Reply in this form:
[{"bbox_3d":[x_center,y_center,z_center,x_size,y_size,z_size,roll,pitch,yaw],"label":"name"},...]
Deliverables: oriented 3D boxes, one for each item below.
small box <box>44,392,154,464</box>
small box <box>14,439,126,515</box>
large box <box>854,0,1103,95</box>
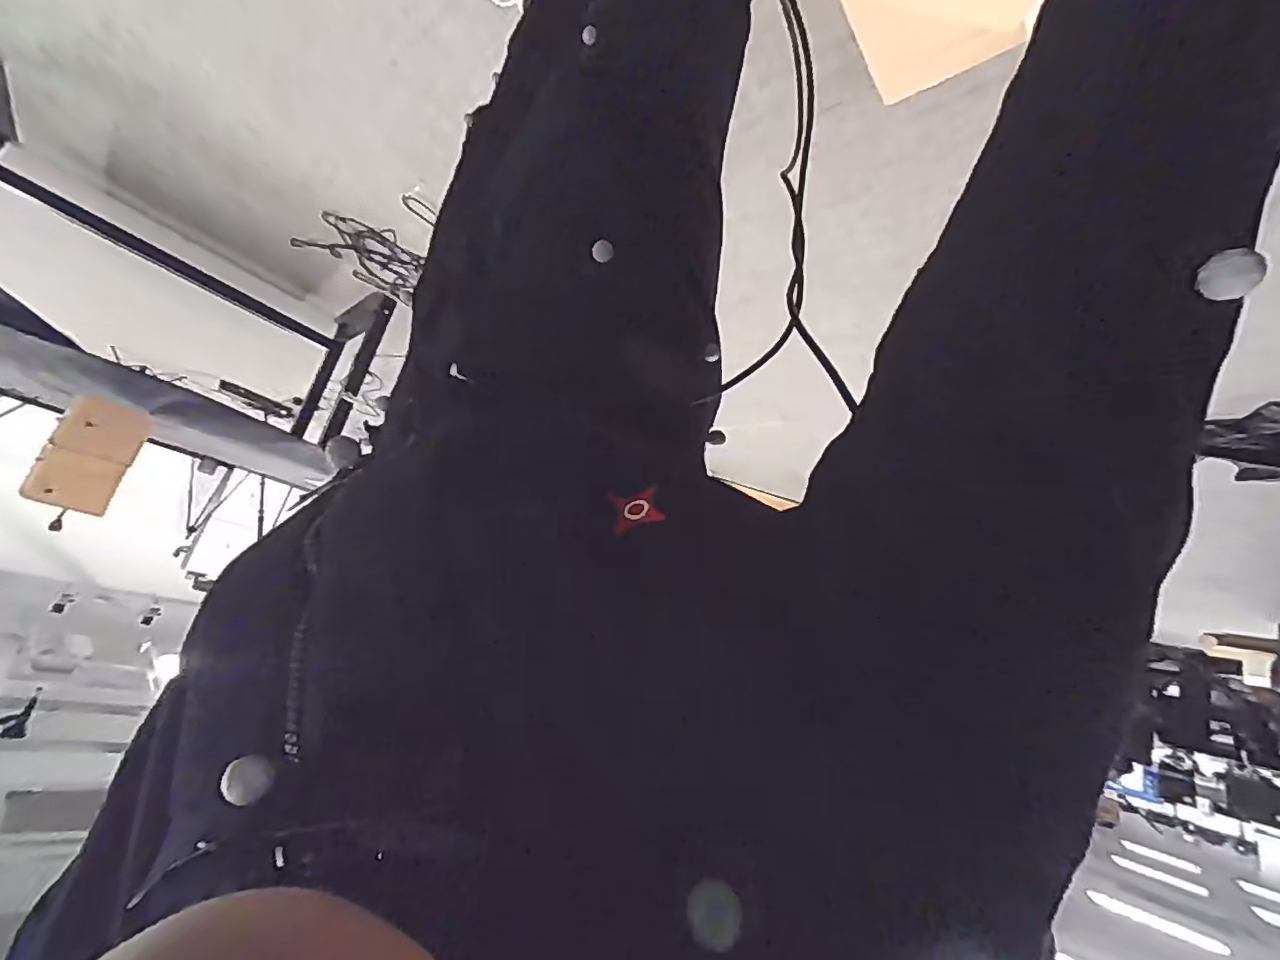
[{"bbox_3d":[-1.652,-0.162,1.654,0.168,0.176,0.179,5,163,36],"label":"small box"},{"bbox_3d":[-1.697,-0.011,1.615,0.168,0.176,0.179,5,162,36],"label":"small box"},{"bbox_3d":[0.324,-0.677,0.459,0.320,0.320,0.408,0,160,45],"label":"large box"}]
